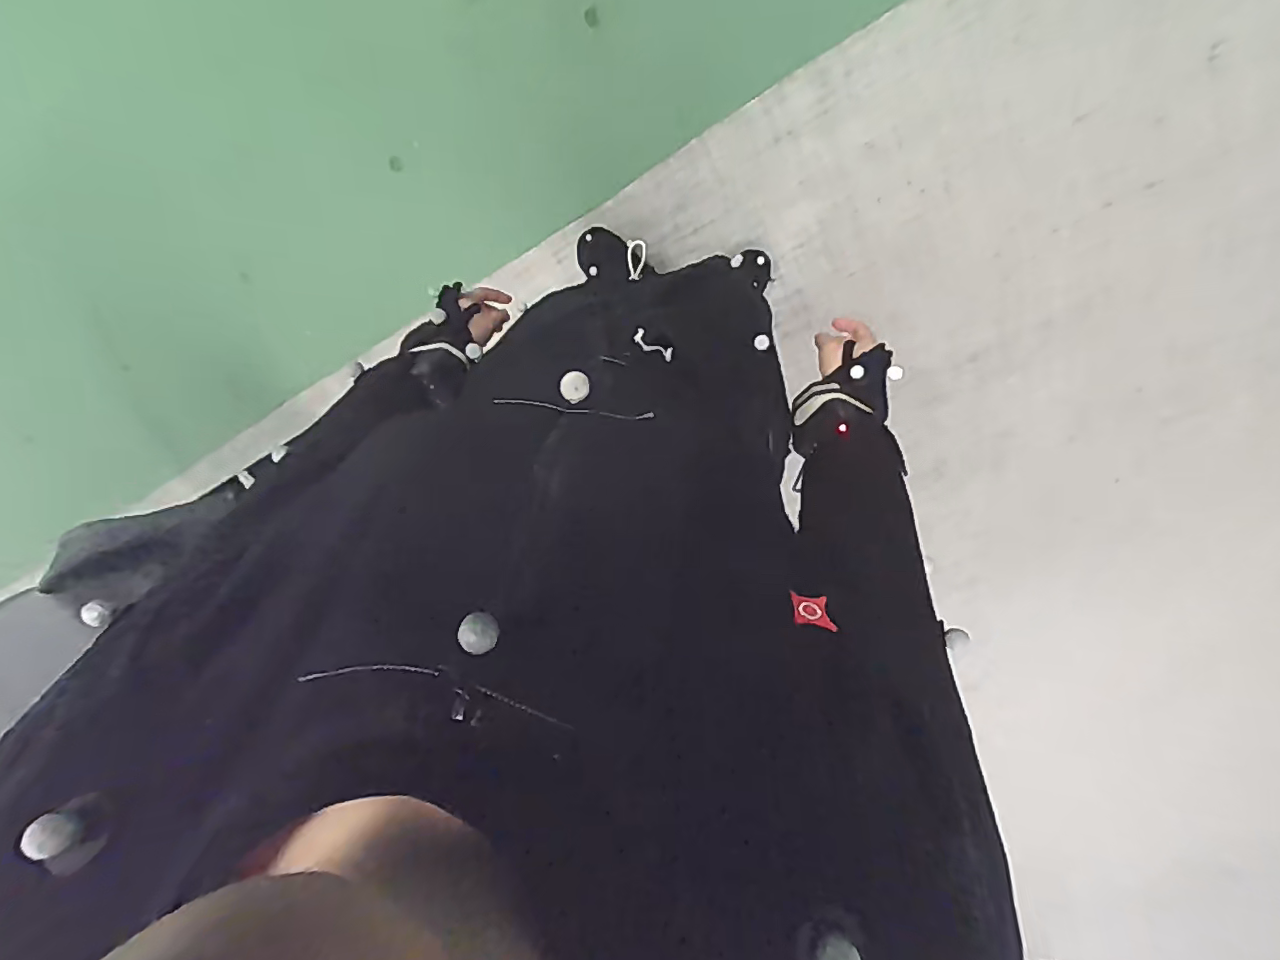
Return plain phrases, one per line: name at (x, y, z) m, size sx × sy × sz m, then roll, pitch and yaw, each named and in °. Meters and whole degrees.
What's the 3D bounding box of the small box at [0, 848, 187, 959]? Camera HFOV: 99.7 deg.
small box at (-0.876, 0.710, 0.850) m, size 0.179 × 0.176 × 0.168 m, roll -23°, pitch 115°, yaw 20°
